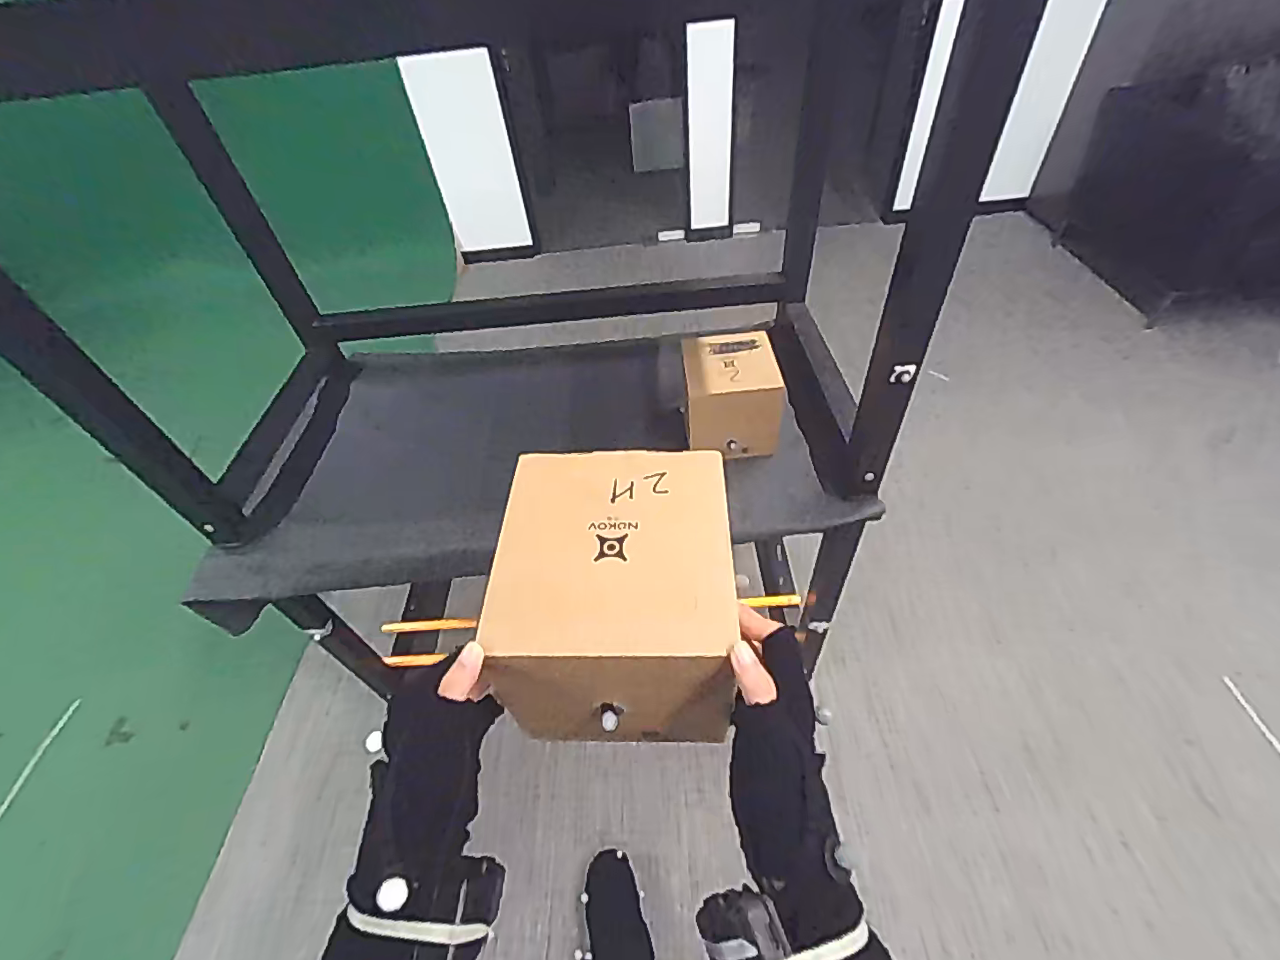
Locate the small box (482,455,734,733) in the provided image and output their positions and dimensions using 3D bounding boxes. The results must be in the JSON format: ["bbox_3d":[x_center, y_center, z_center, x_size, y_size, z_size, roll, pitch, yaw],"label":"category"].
[{"bbox_3d":[-0.015,0.099,0.453,0.168,0.176,0.179,-1,47,2],"label":"small box"}]
